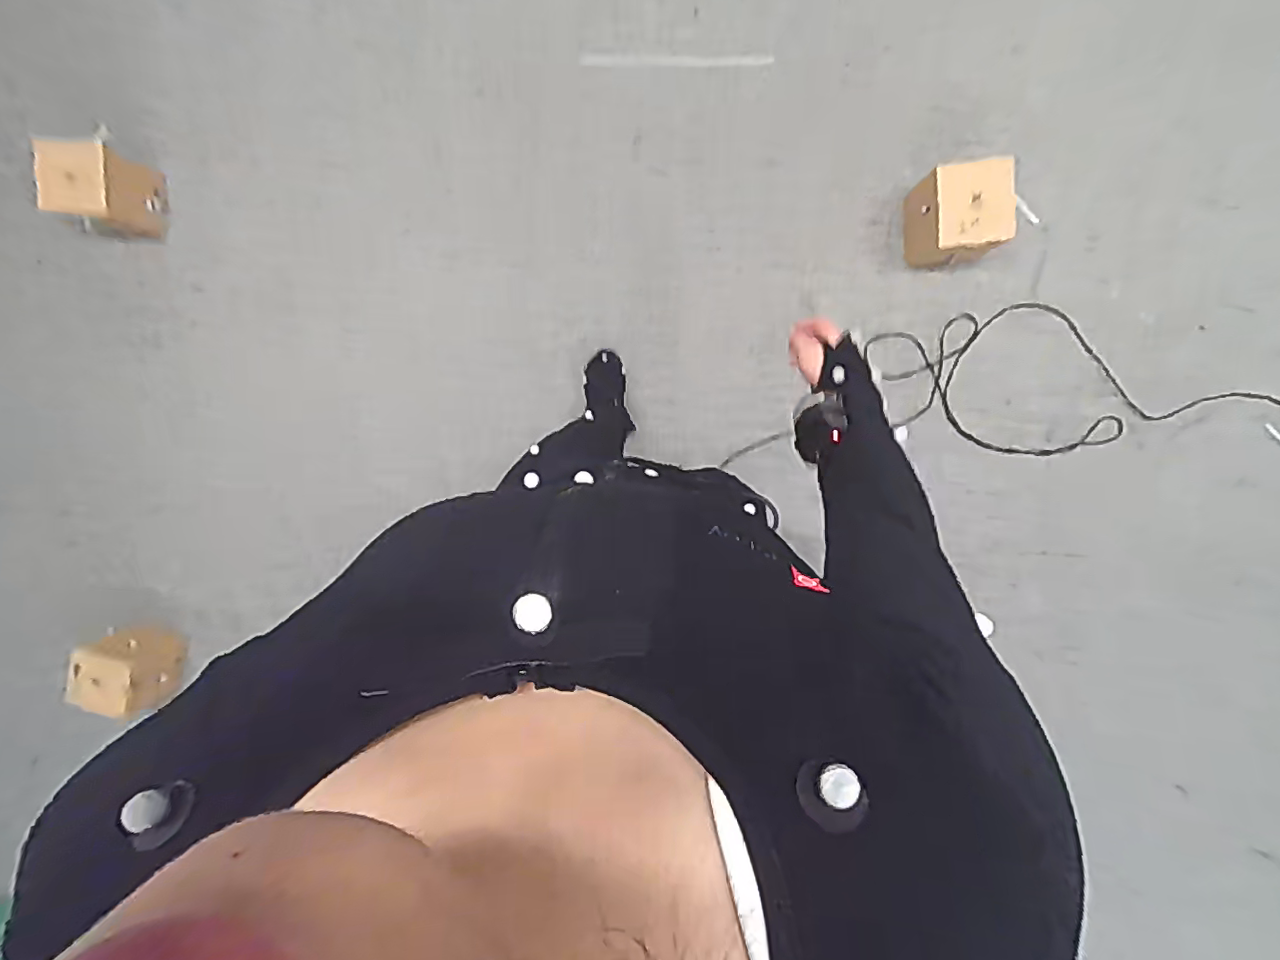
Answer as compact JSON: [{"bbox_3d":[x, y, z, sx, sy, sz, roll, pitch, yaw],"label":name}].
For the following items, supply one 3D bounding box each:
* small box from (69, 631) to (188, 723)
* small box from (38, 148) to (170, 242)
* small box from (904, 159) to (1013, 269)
[{"bbox_3d":[-1.438,0.550,1.530,0.179,0.176,0.168,15,97,1],"label":"small box"},{"bbox_3d":[-1.368,-0.724,1.389,0.179,0.176,0.168,3,98,2],"label":"small box"},{"bbox_3d":[0.735,-0.612,1.262,0.168,0.176,0.179,-6,97,4],"label":"small box"}]
